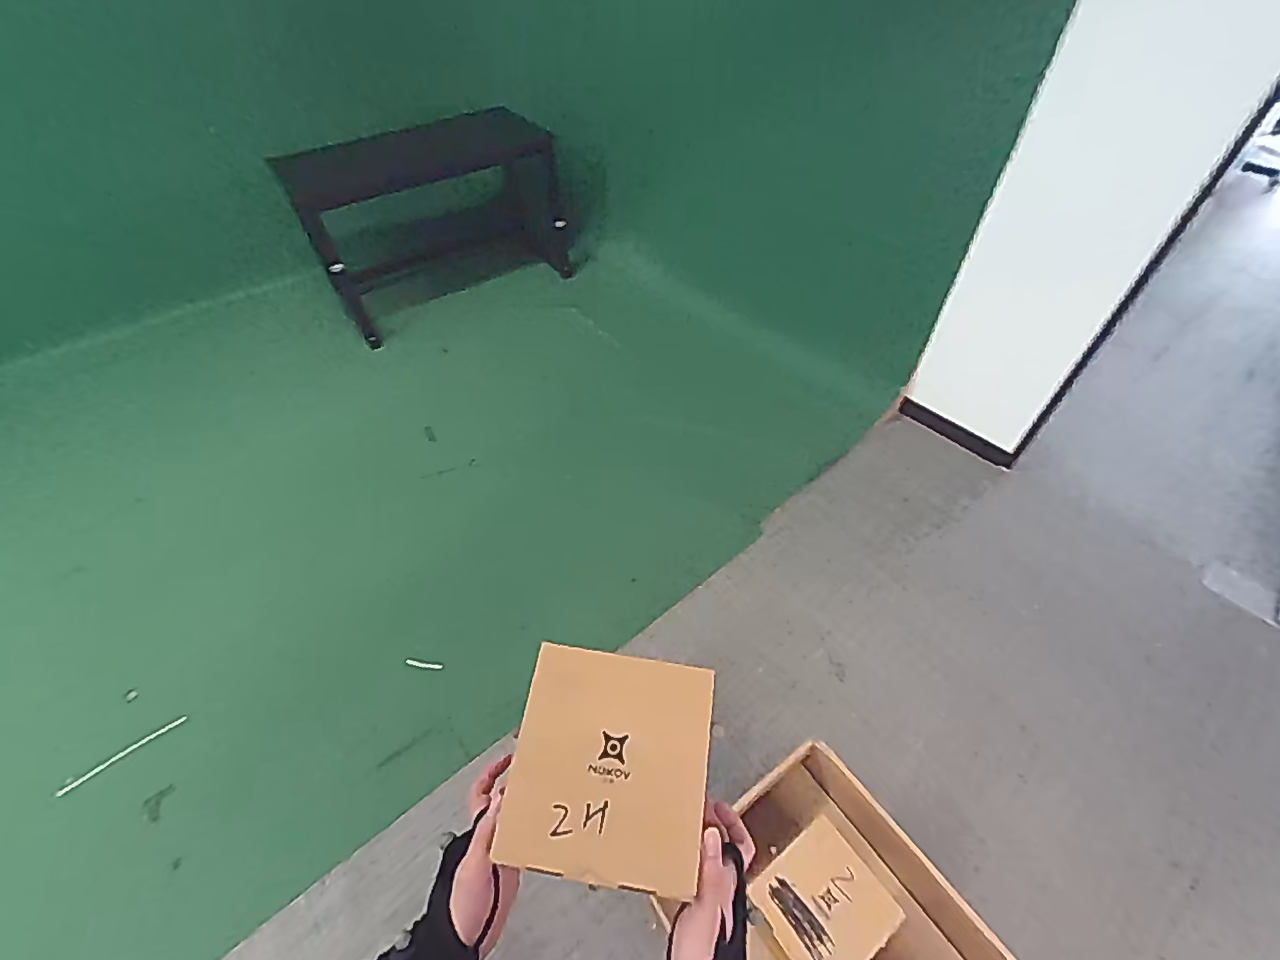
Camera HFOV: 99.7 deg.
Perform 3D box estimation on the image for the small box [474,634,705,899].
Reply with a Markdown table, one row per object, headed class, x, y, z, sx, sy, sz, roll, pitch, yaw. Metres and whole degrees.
| class | x | y | z | sx | sy | sz | roll | pitch | yaw |
| --- | --- | --- | --- | --- | --- | --- | --- | --- | --- |
| small box | -0.036 | 0.269 | 0.520 | 0.168 | 0.176 | 0.179 | 8 | 59 | 5 |
